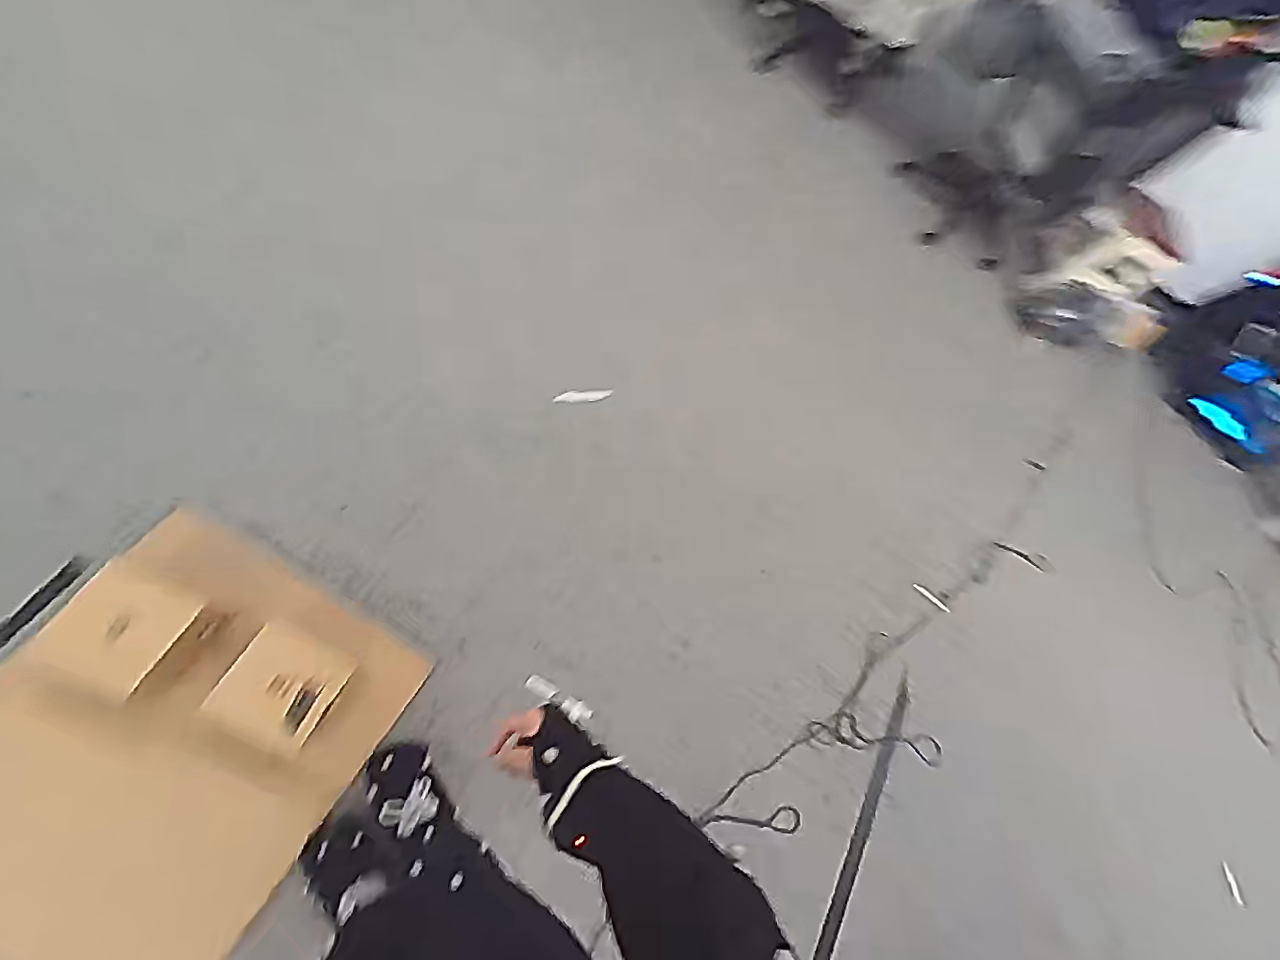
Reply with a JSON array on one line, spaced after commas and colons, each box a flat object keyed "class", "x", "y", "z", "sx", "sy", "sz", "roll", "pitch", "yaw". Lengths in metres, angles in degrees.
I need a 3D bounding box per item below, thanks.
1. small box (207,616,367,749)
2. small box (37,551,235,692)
[{"class": "small box", "x": -0.641, "y": 0.371, "z": 1.012, "sx": 0.179, "sy": 0.176, "sz": 0.168, "roll": 34, "pitch": 64, "yaw": -10}, {"class": "small box", "x": -0.865, "y": 0.251, "z": 0.958, "sx": 0.168, "sy": 0.176, "sz": 0.179, "roll": 32, "pitch": 66, "yaw": -10}]
